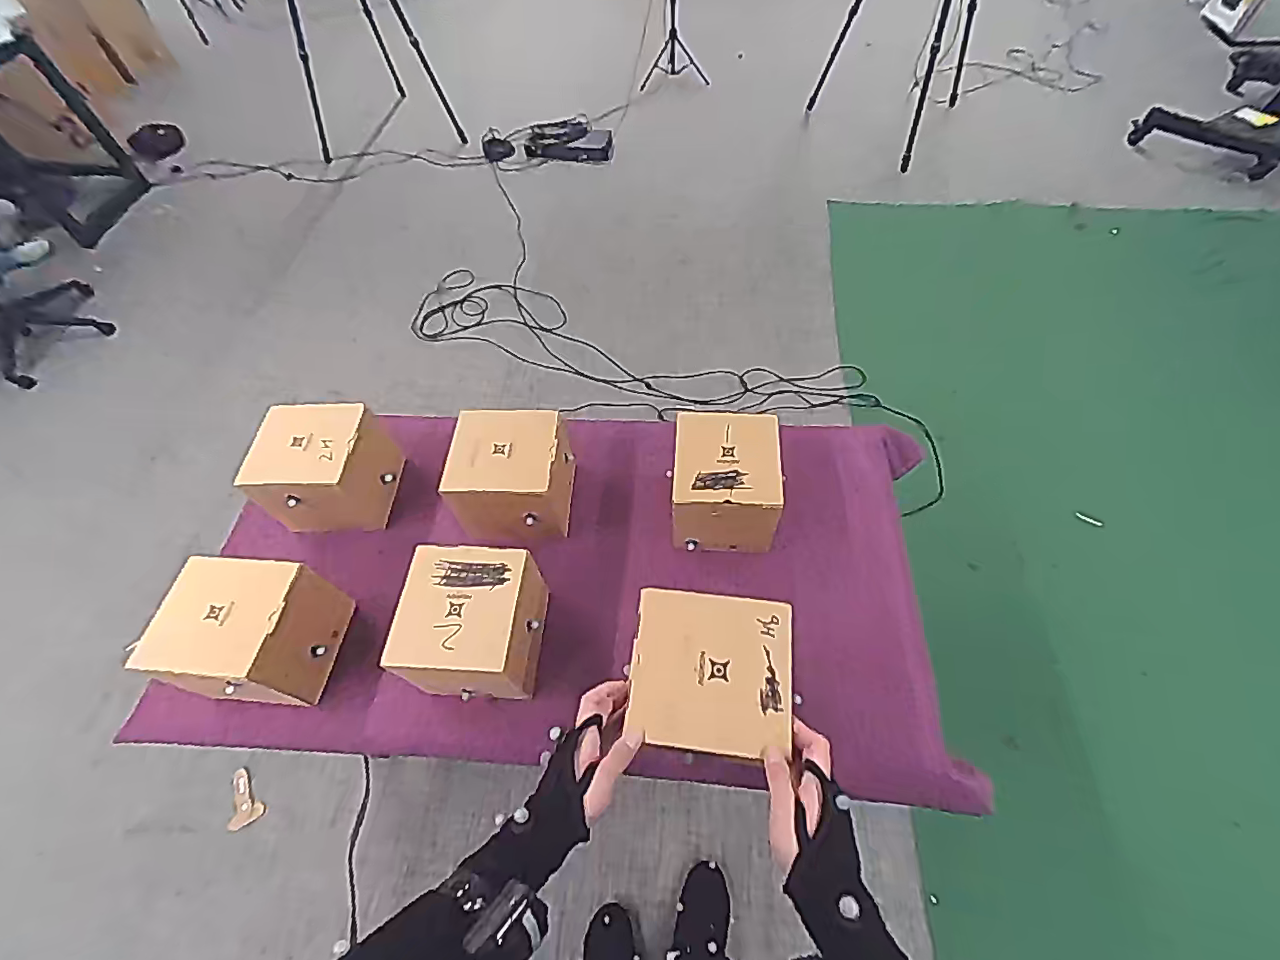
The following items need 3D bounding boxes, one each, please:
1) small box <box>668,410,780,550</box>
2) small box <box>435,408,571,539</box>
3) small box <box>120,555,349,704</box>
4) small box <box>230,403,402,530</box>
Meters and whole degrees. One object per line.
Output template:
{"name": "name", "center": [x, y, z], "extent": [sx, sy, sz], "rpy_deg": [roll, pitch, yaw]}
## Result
{"name": "small box", "center": [0.136, 0.005, 0.901], "extent": [0.168, 0.176, 0.179], "rpy_deg": [2, 57, 5]}
{"name": "small box", "center": [-0.221, -0.008, 0.934], "extent": [0.179, 0.176, 0.168], "rpy_deg": [0, 57, 5]}
{"name": "small box", "center": [-0.580, 0.226, 0.804], "extent": [0.179, 0.176, 0.168], "rpy_deg": [3, 56, 4]}
{"name": "small box", "center": [-0.558, -0.019, 0.959], "extent": [0.179, 0.176, 0.168], "rpy_deg": [0, 58, 3]}
